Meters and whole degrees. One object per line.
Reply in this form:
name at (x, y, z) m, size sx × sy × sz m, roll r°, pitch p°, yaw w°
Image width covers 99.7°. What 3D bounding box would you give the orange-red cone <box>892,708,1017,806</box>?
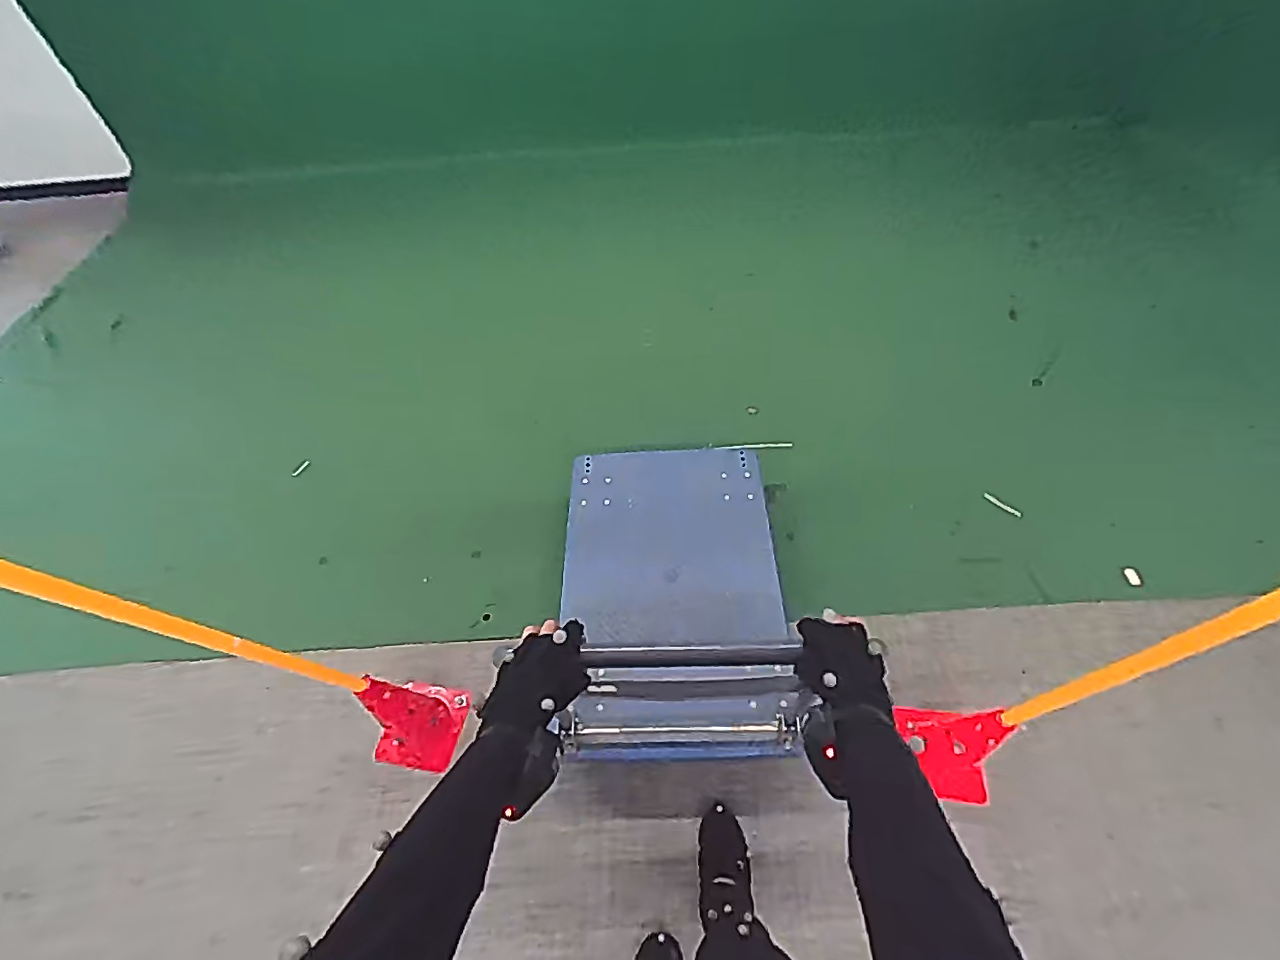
orange-red cone at (0.713, 0.564, 1.173) m, size 0.198 × 0.360 × 0.199 m, roll 5°, pitch 54°, yaw 8°
